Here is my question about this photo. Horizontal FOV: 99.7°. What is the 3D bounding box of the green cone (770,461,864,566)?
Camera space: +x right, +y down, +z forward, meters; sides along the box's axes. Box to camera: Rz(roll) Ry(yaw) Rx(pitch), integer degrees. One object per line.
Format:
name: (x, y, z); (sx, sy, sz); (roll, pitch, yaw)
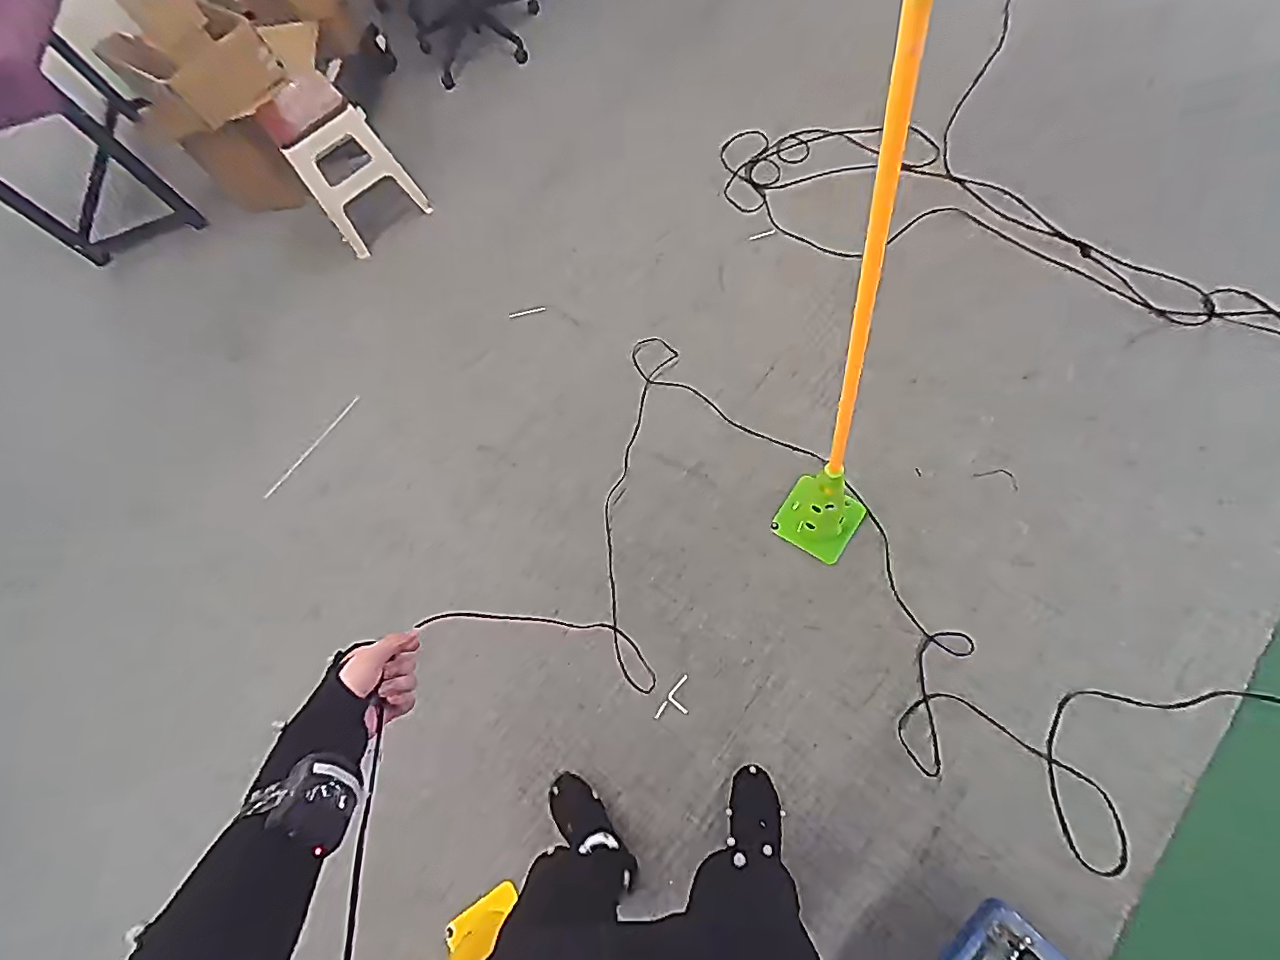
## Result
green cone: (0.459, 0.048, 1.336); (0.200, 0.368, 0.202); (30, 76, 21)
